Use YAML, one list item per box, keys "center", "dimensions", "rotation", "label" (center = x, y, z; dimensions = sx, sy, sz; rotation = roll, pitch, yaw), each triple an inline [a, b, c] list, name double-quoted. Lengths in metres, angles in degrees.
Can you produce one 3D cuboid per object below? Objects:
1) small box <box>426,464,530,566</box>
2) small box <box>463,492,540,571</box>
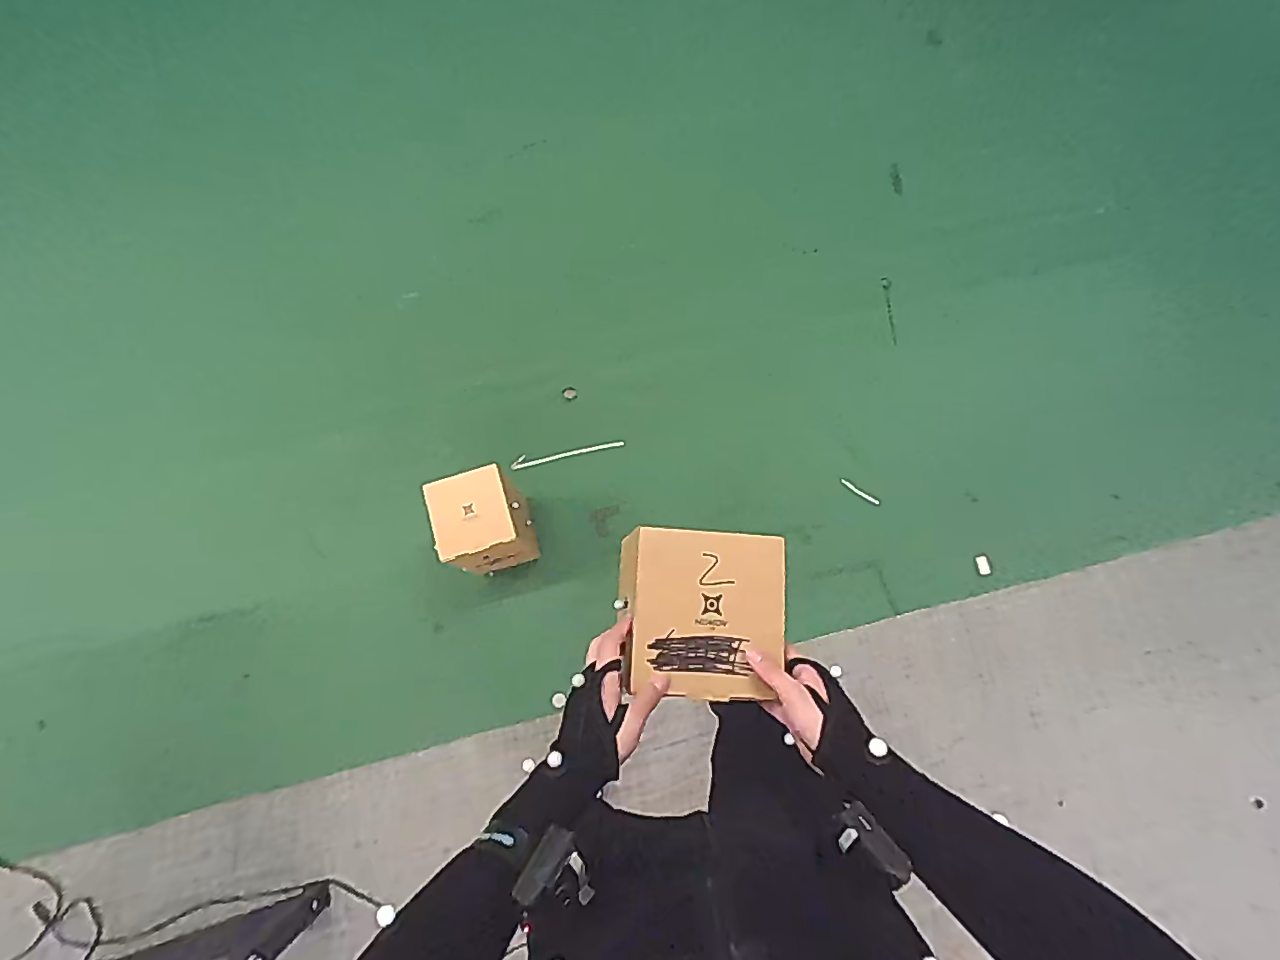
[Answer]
- center: [-0.361, 0.085, 1.228]
  dimensions: [0.168, 0.176, 0.179]
  rotation: [-17, 78, -5]
  label: "small box"
- center: [-0.364, 0.130, 1.384]
  dimensions: [0.168, 0.176, 0.179]
  rotation: [-16, 77, -4]
  label: "small box"
